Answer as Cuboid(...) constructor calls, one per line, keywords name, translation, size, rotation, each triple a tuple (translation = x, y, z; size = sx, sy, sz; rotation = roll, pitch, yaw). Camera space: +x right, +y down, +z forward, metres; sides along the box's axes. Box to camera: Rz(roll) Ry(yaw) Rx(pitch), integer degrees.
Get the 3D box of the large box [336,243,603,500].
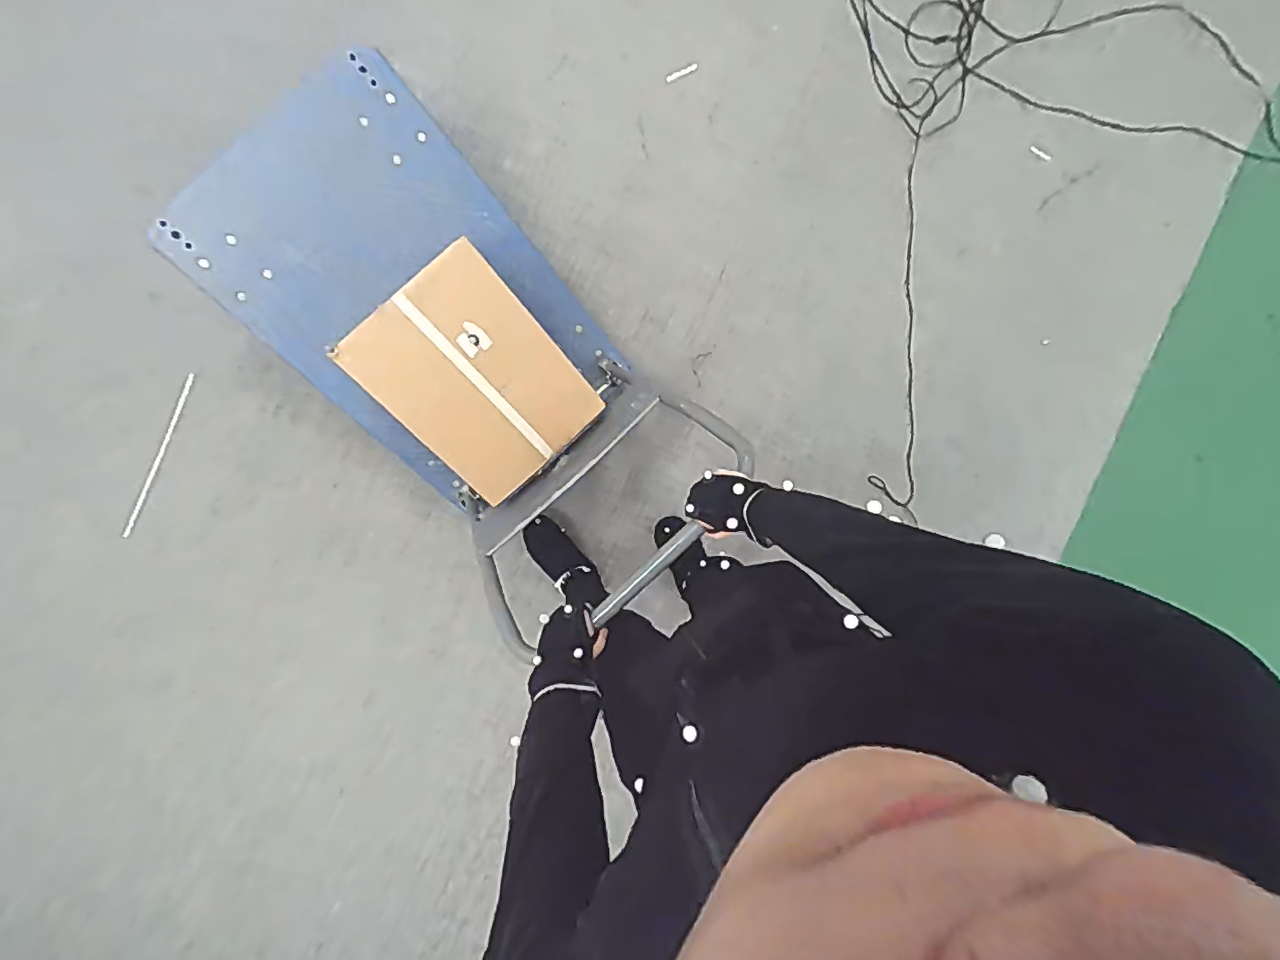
Cuboid(name="large box", translation=(-0.347, -0.233, 1.168), size=(0.320, 0.320, 0.408), rotation=(-42, 116, -2))
